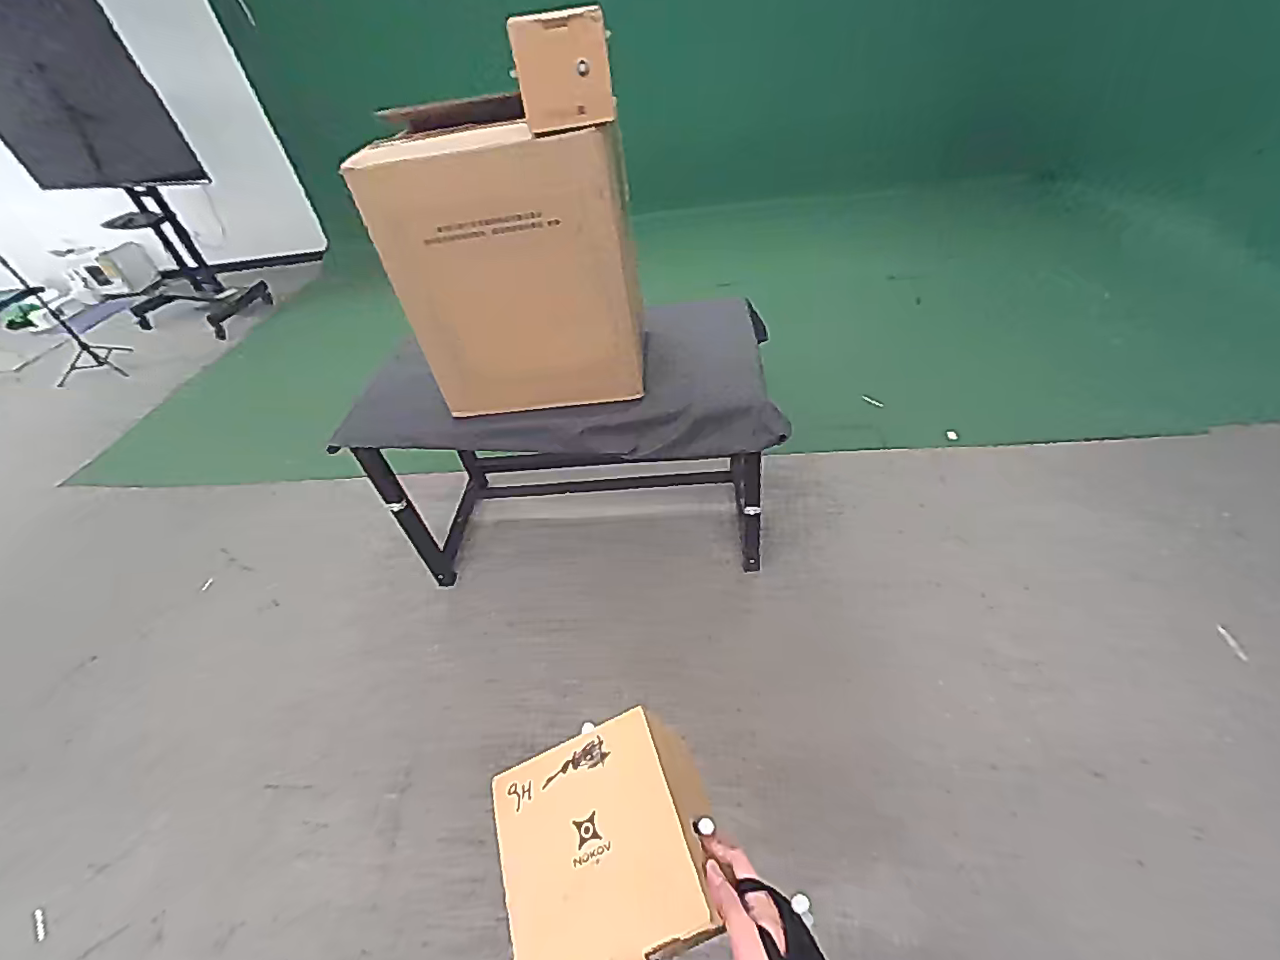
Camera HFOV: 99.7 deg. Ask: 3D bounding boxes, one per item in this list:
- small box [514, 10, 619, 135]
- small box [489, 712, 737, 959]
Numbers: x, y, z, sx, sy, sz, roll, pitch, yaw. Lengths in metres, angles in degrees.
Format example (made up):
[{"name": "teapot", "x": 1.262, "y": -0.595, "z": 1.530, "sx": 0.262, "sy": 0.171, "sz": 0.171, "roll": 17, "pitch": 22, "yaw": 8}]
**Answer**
[{"name": "small box", "x": -0.134, "y": -0.777, "z": 1.038, "sx": 0.168, "sy": 0.176, "sz": 0.179, "roll": -8, "pitch": 42, "yaw": 0}, {"name": "small box", "x": -0.022, "y": 0.360, "z": 0.526, "sx": 0.168, "sy": 0.176, "sz": 0.179, "roll": -27, "pitch": 49, "yaw": 2}]
